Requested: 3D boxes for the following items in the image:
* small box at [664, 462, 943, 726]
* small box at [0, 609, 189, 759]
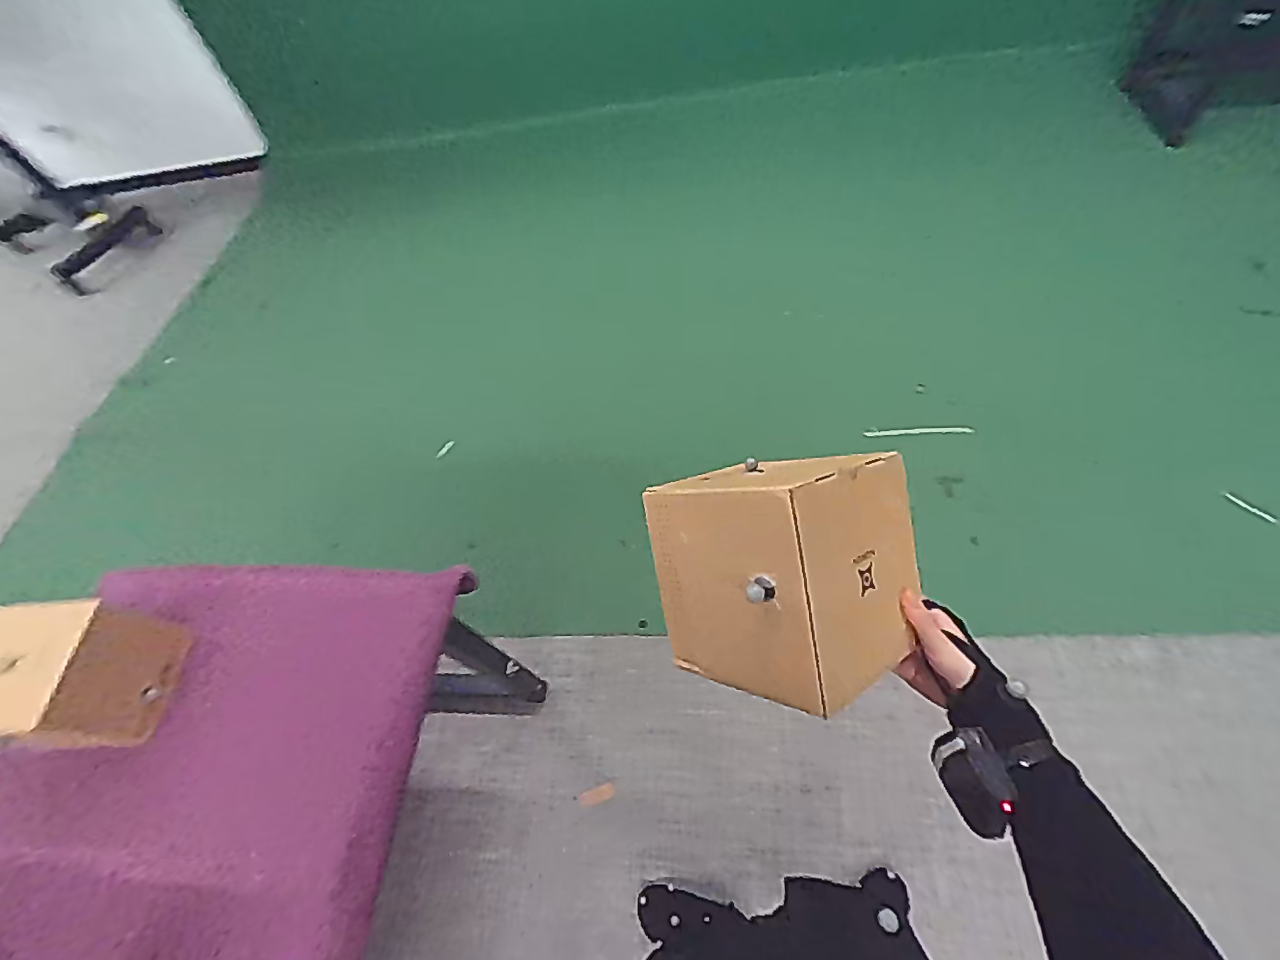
[{"bbox_3d":[0.143,0.084,0.492,0.168,0.179,0.176,-12,4,-38],"label":"small box"},{"bbox_3d":[-0.806,0.291,0.759,0.179,0.176,0.168,-5,58,5],"label":"small box"}]
